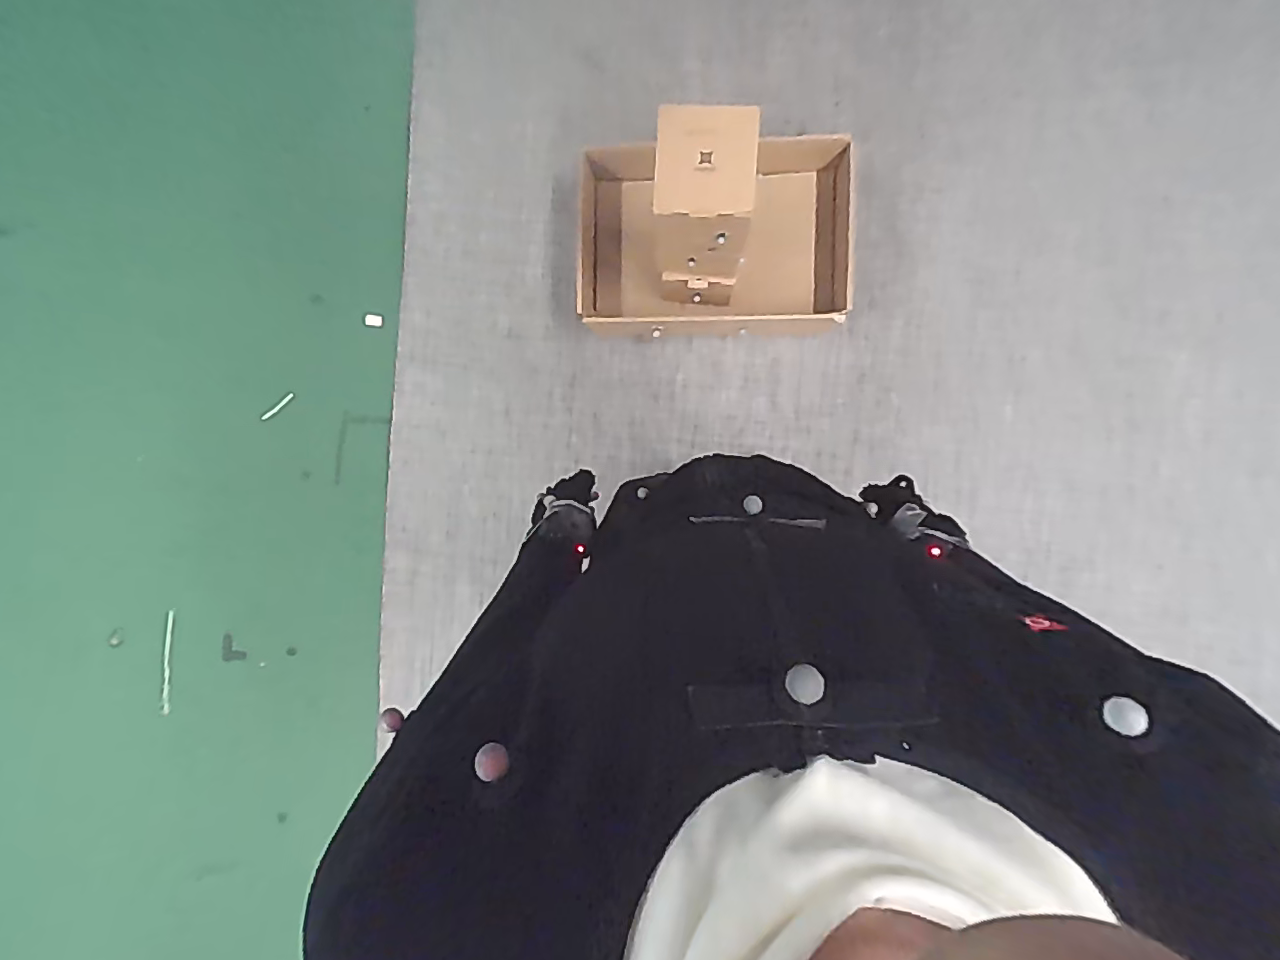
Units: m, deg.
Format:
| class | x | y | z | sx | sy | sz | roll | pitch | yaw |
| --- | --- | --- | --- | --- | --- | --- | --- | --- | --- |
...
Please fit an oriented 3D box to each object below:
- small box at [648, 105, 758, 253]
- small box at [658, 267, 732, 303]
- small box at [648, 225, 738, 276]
| class | x | y | z | sx | sy | sz | roll | pitch | yaw |
| --- | --- | --- | --- | --- | --- | --- | --- | --- | --- |
| small box | 0.107 | -0.519 | 0.954 | 0.168 | 0.176 | 0.179 | 4 | 91 | 3 |
| small box | 0.138 | -0.531 | 1.279 | 0.168 | 0.176 | 0.179 | 7 | 93 | 4 |
| small box | 0.121 | -0.535 | 1.115 | 0.179 | 0.176 | 0.168 | 10 | 92 | 6 |
